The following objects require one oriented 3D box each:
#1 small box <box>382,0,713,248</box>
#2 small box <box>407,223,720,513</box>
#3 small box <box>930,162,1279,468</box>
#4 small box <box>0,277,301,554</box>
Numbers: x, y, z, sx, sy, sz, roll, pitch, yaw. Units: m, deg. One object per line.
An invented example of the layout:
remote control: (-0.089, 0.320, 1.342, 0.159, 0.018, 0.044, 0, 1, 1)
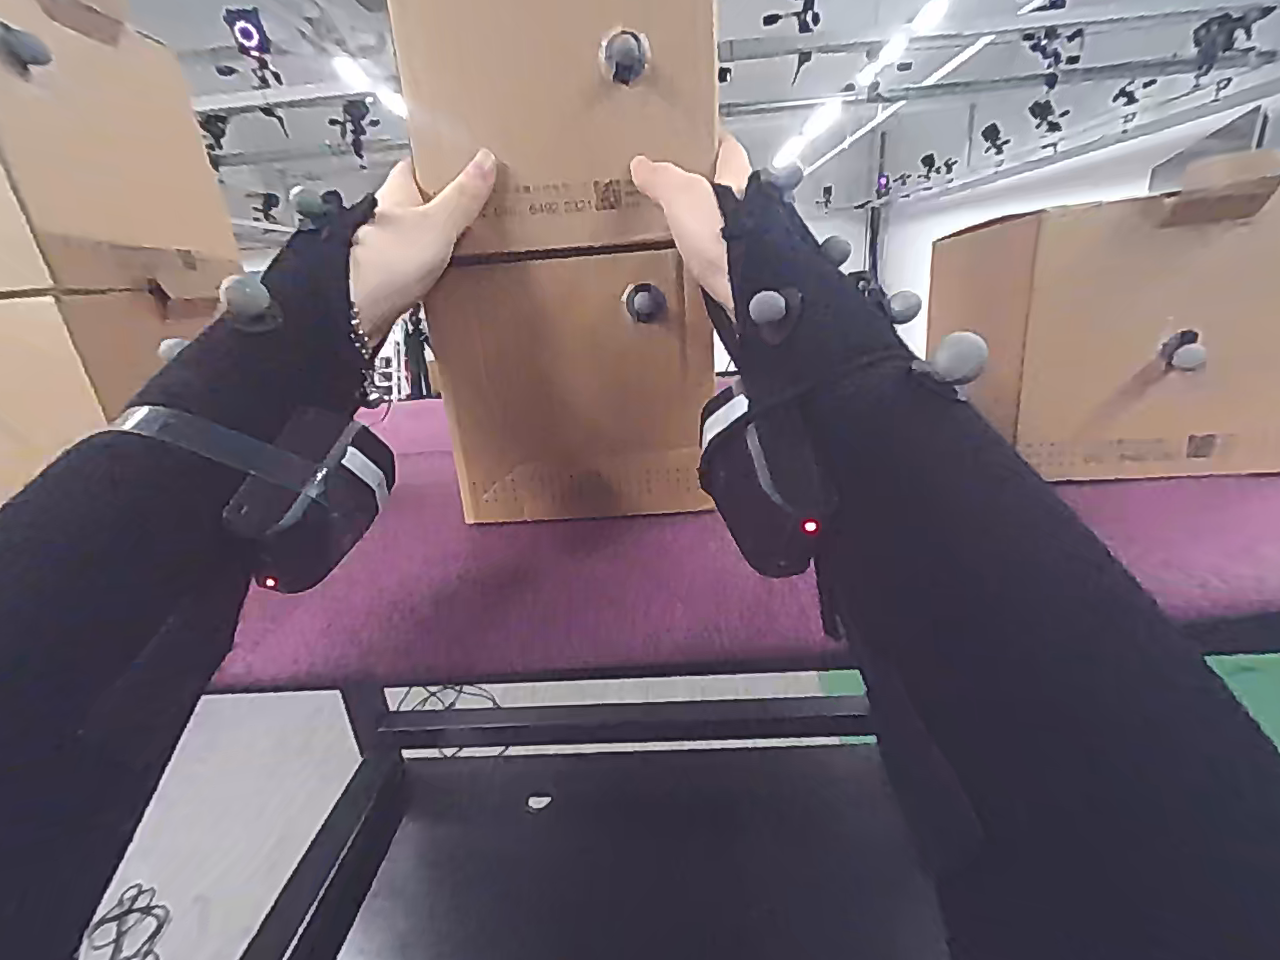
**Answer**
small box: (-0.045, -0.234, 0.350, 0.168, 0.176, 0.179, -3, 17, 0)
small box: (-0.038, -0.080, 0.401, 0.179, 0.176, 0.168, -3, 18, 3)
small box: (0.322, -0.109, 0.382, 0.168, 0.176, 0.179, -3, 18, 10)
small box: (-0.400, -0.052, 0.400, 0.179, 0.176, 0.168, -3, 21, 3)
